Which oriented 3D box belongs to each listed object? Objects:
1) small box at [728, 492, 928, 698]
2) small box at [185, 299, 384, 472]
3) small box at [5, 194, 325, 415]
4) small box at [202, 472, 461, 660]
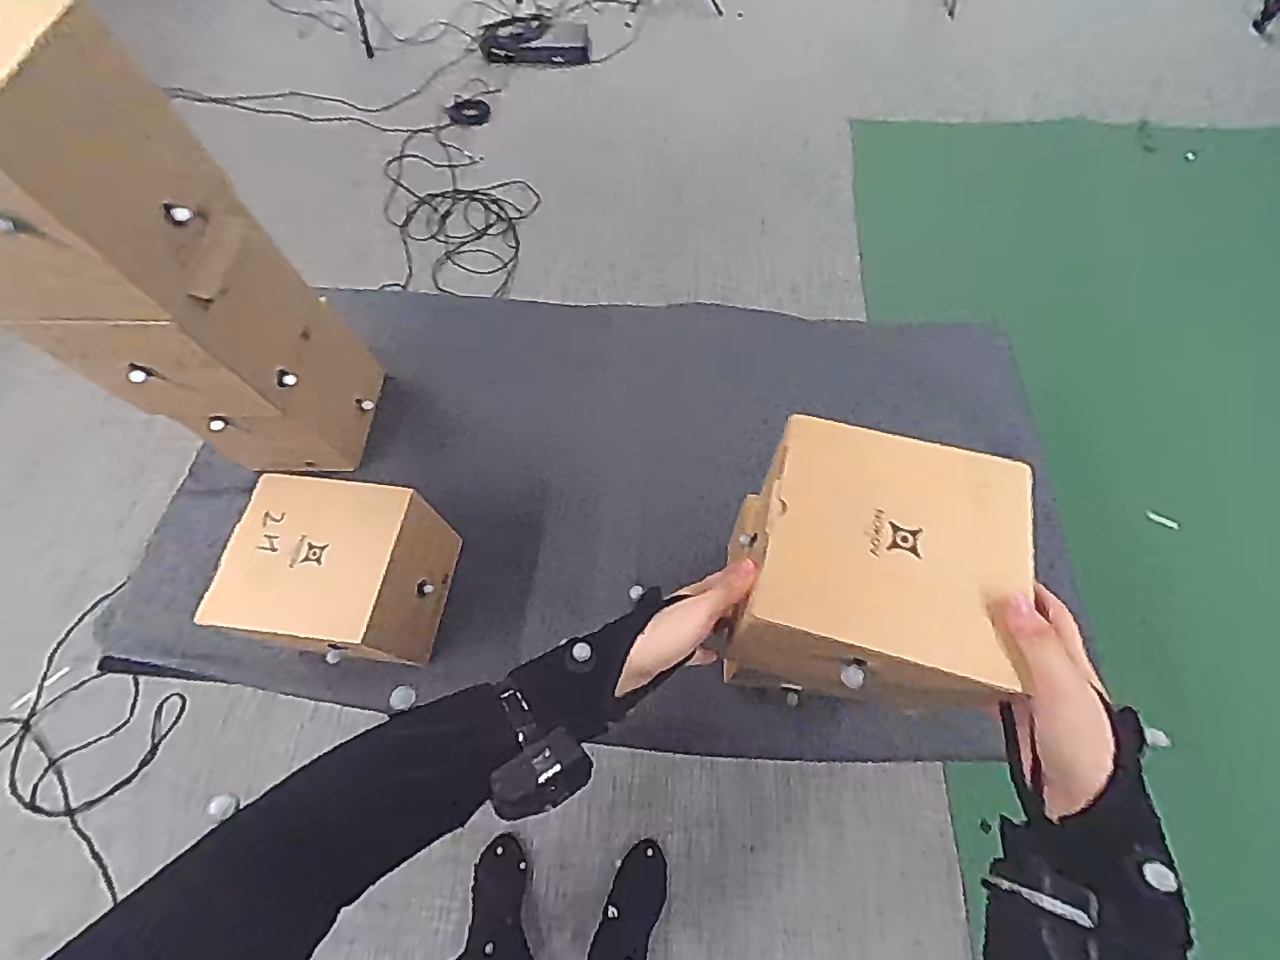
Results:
[{"bbox_3d":[0.188,0.132,0.594,0.168,0.176,0.179,4,64,6],"label":"small box"},{"bbox_3d":[-0.481,-0.127,0.749,0.168,0.176,0.179,0,65,2],"label":"small box"},{"bbox_3d":[-0.488,-0.182,0.593,0.179,0.176,0.168,1,66,3],"label":"small box"},{"bbox_3d":[-0.331,0.108,0.628,0.179,0.176,0.168,6,64,5],"label":"small box"}]
